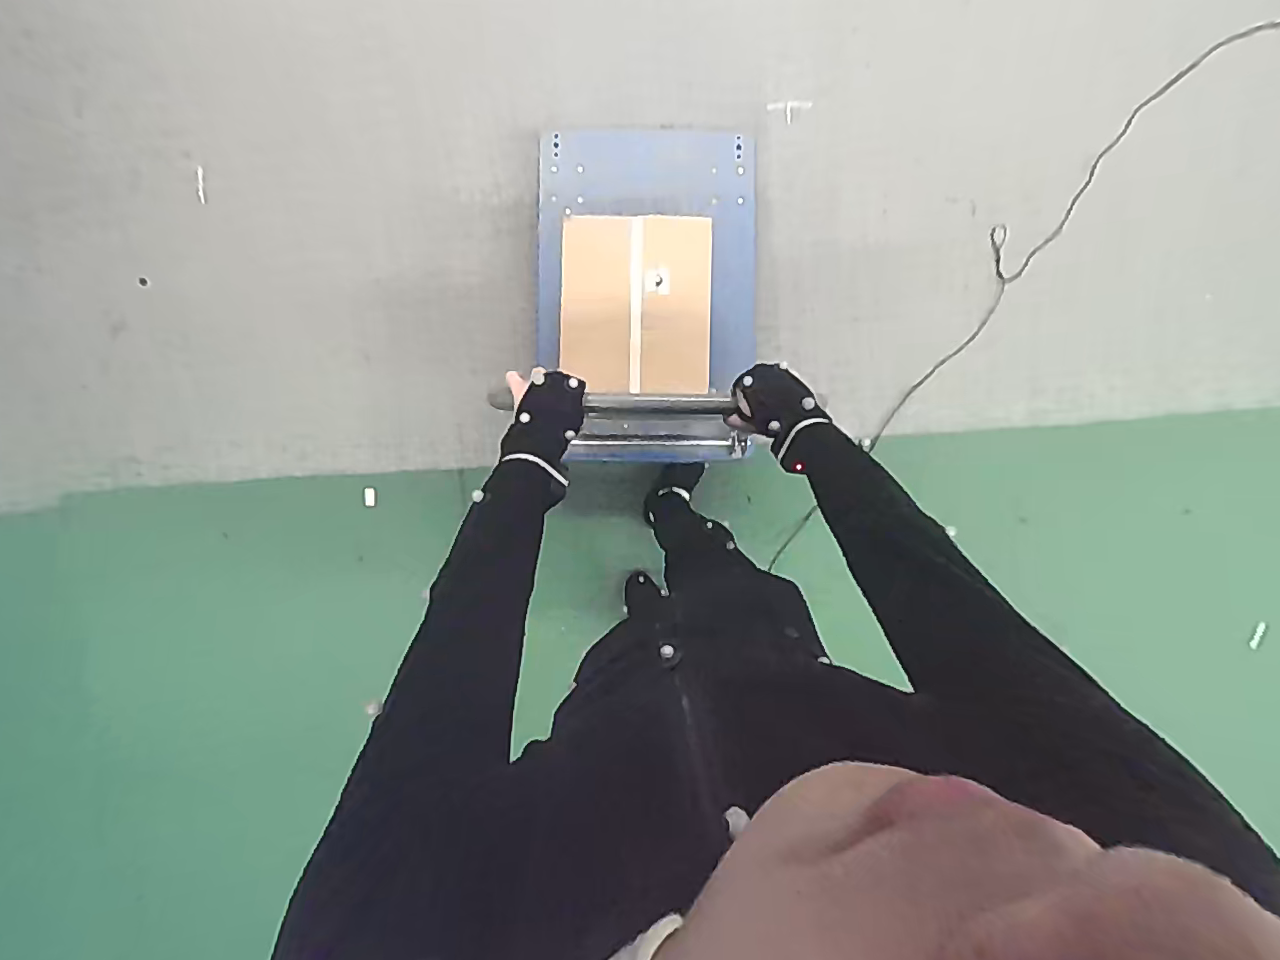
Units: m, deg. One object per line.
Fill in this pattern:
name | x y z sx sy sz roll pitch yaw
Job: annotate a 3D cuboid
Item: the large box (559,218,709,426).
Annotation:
large box | -0.011 -0.344 1.275 0.320 0.320 0.408 1 89 -1
